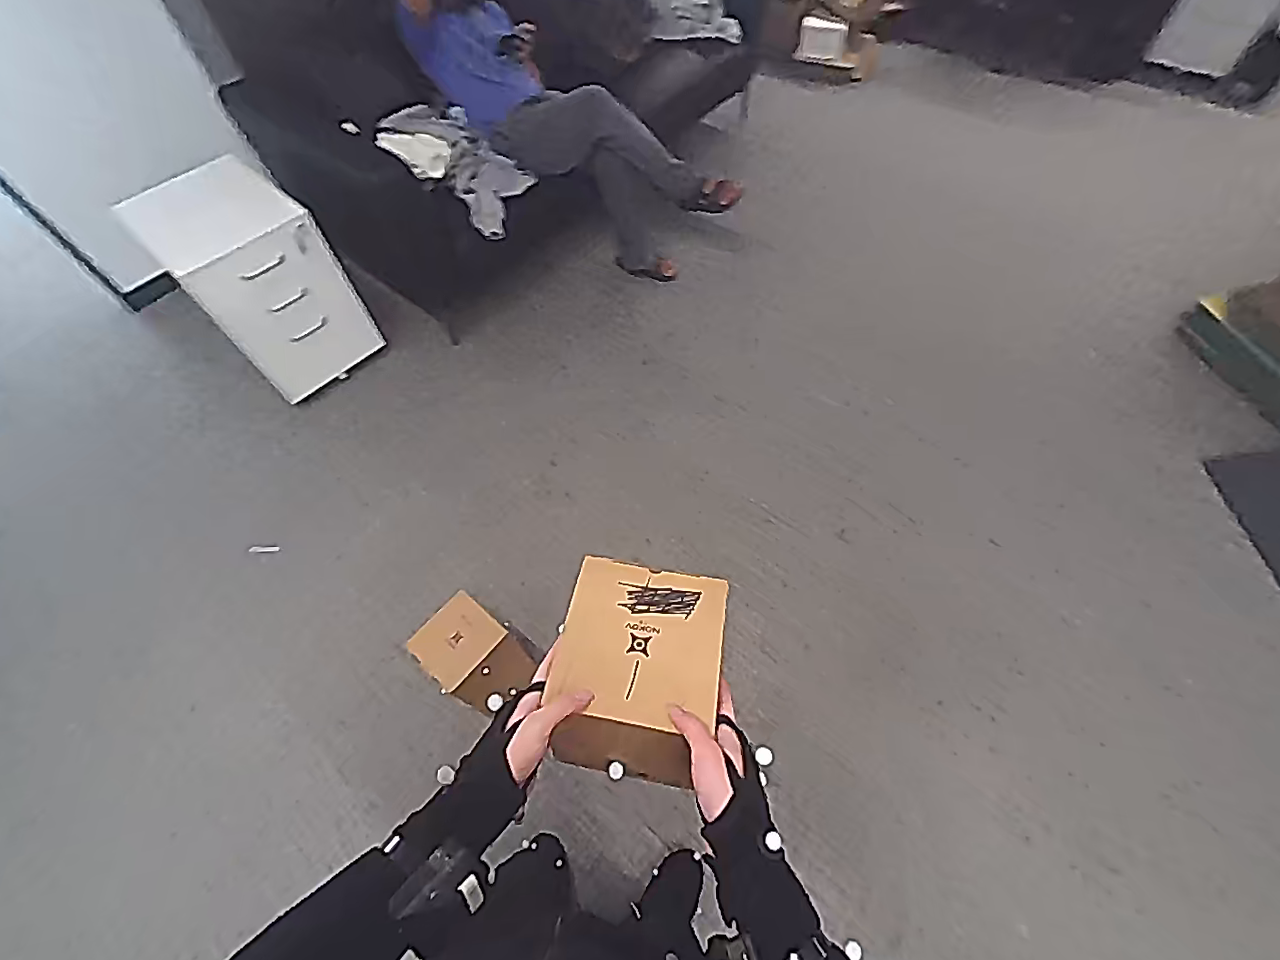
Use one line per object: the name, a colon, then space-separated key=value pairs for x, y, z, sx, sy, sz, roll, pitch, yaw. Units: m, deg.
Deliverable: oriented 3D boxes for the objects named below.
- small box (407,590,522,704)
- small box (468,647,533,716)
small box: x=-0.407 y=0.402 z=1.286 sx=0.168 sy=0.176 sz=0.179 roll=34 pitch=64 yaw=21
small box: x=-0.401 y=0.489 z=1.423 sx=0.168 sy=0.176 sz=0.179 roll=36 pitch=66 yaw=22
